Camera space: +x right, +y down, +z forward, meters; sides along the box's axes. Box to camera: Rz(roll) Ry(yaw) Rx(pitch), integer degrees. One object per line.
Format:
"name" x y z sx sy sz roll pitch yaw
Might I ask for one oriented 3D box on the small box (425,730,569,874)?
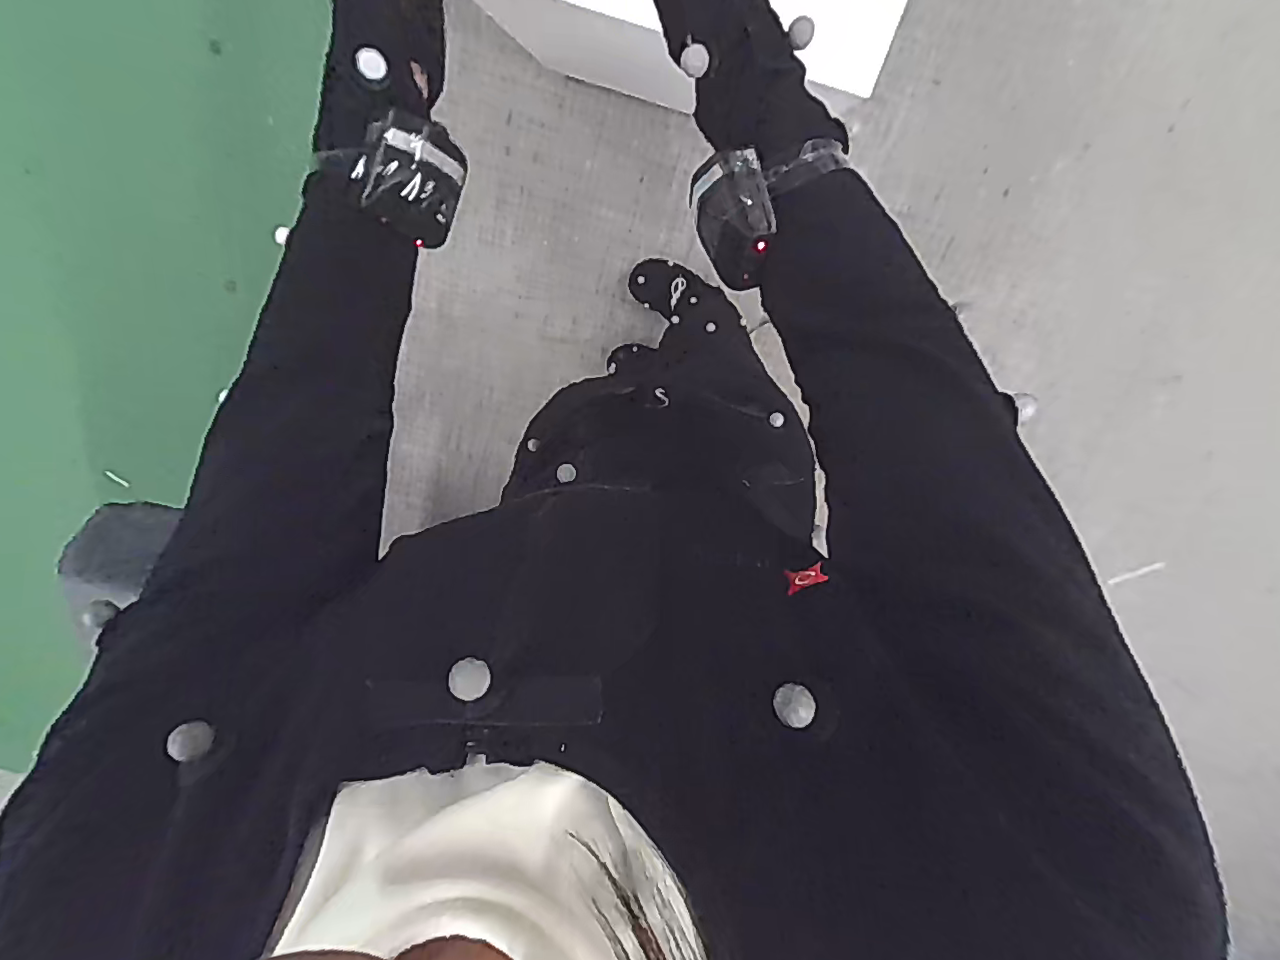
"small box" -0.230 0.552 0.903 0.179 0.176 0.168 19 118 -4
